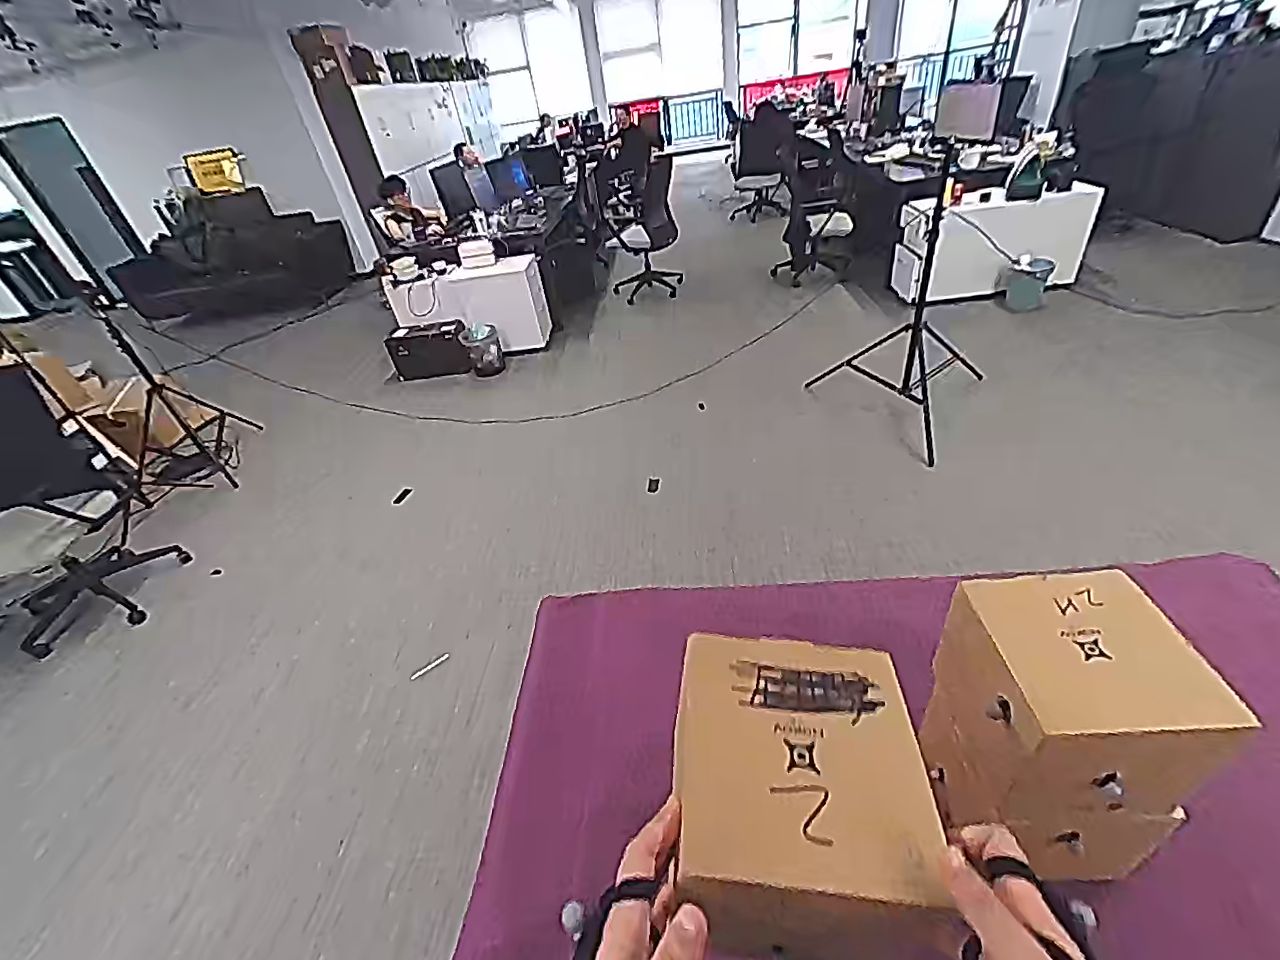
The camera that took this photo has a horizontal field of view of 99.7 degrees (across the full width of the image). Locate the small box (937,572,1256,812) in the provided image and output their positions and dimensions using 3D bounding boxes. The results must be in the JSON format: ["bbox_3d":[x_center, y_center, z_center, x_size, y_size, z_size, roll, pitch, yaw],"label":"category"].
[{"bbox_3d":[0.435,0.221,0.559,0.168,0.176,0.179,-5,36,7],"label":"small box"}]

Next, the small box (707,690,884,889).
[{"bbox_3d":[0.181,0.385,0.672,0.179,0.176,0.168,-5,37,6],"label":"small box"}]

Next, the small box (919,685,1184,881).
[{"bbox_3d":[0.464,0.356,0.650,0.179,0.176,0.168,-5,36,7],"label":"small box"}]
